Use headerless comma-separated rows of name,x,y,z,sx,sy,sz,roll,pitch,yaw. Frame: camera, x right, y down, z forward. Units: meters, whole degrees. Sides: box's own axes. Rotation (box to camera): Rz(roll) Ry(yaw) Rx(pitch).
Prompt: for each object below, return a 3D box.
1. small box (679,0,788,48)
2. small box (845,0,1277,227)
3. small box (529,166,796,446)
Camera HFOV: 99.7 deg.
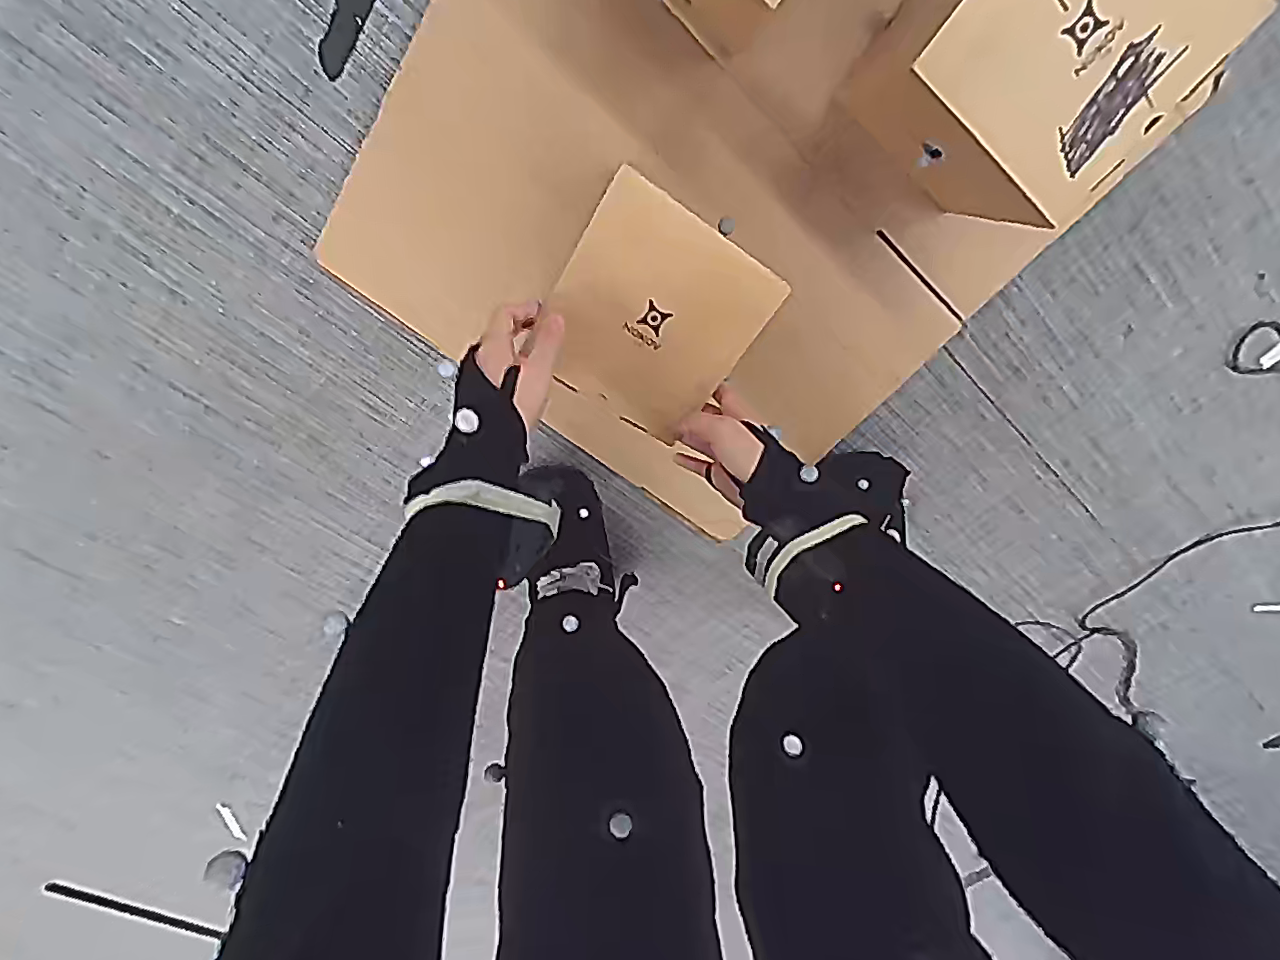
small box,0.075,-0.448,0.364,0.168,0.176,0.179,31,115,-16
small box,0.302,-0.335,0.430,0.179,0.176,0.168,32,114,-17
small box,0.012,-0.170,0.517,0.168,0.176,0.179,27,117,-16
